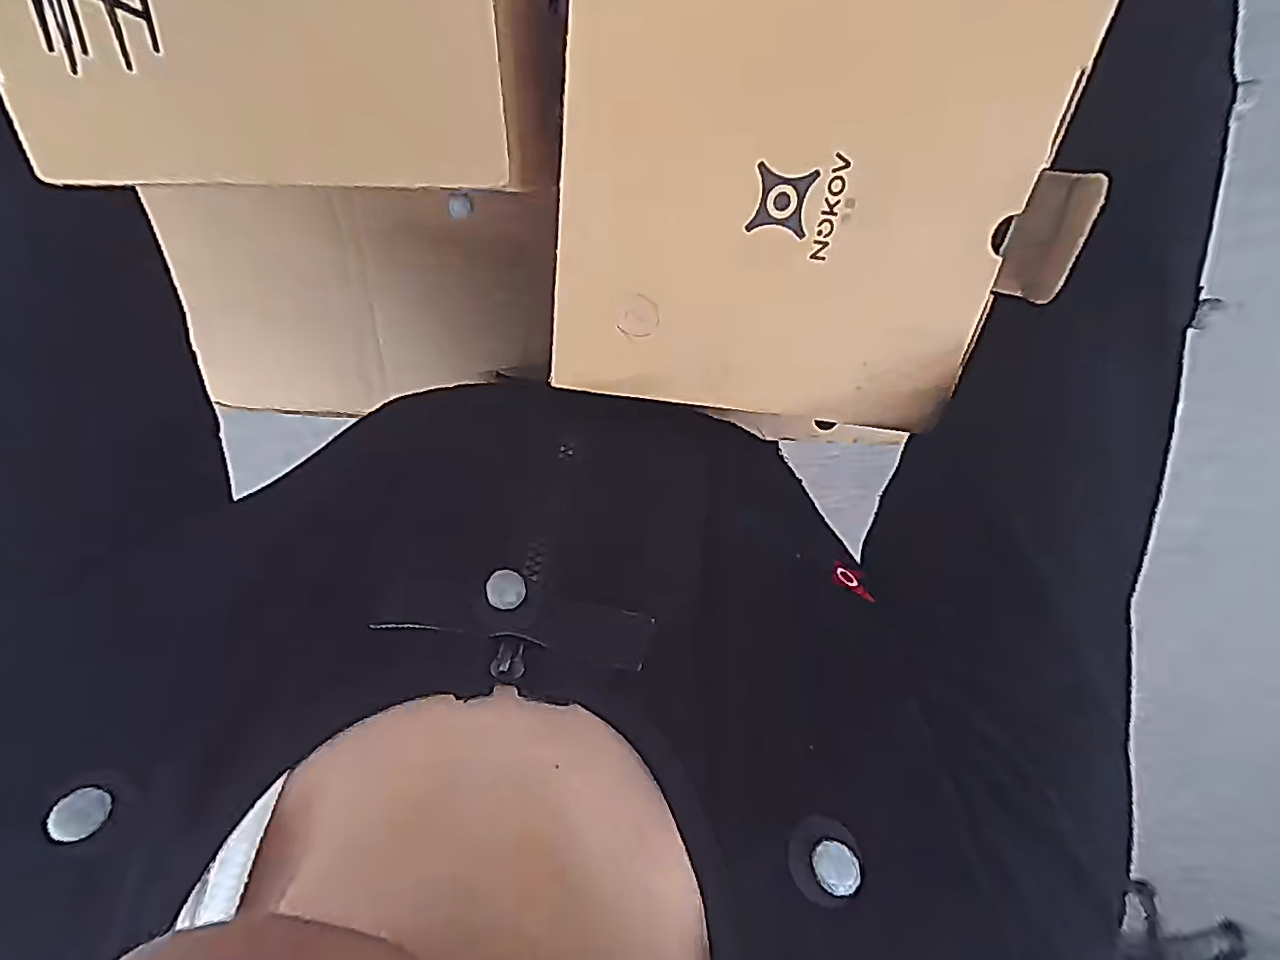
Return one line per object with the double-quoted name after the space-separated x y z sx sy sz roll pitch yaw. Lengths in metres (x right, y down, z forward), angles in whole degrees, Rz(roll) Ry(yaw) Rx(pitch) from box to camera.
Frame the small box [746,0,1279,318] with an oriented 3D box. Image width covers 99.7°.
0.164 -0.191 0.227 0.179 0.176 0.168 17 124 -9 "small box"
